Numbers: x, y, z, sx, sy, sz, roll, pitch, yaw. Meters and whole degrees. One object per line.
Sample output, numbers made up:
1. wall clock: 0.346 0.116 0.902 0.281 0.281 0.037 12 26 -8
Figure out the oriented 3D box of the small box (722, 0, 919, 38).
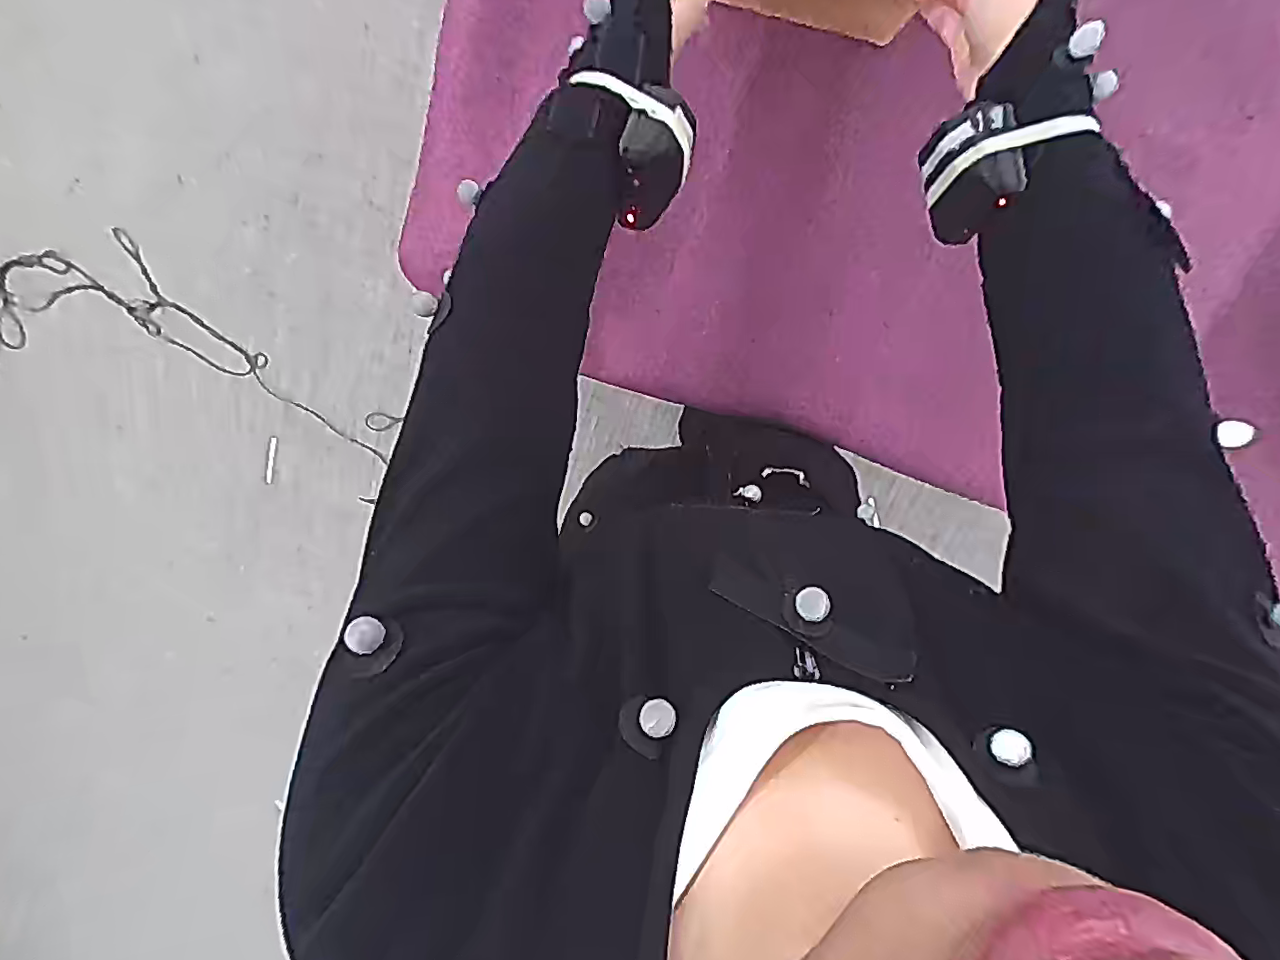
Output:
1. small box: 0.156 -0.462 0.390 0.179 0.176 0.168 15 111 -1
